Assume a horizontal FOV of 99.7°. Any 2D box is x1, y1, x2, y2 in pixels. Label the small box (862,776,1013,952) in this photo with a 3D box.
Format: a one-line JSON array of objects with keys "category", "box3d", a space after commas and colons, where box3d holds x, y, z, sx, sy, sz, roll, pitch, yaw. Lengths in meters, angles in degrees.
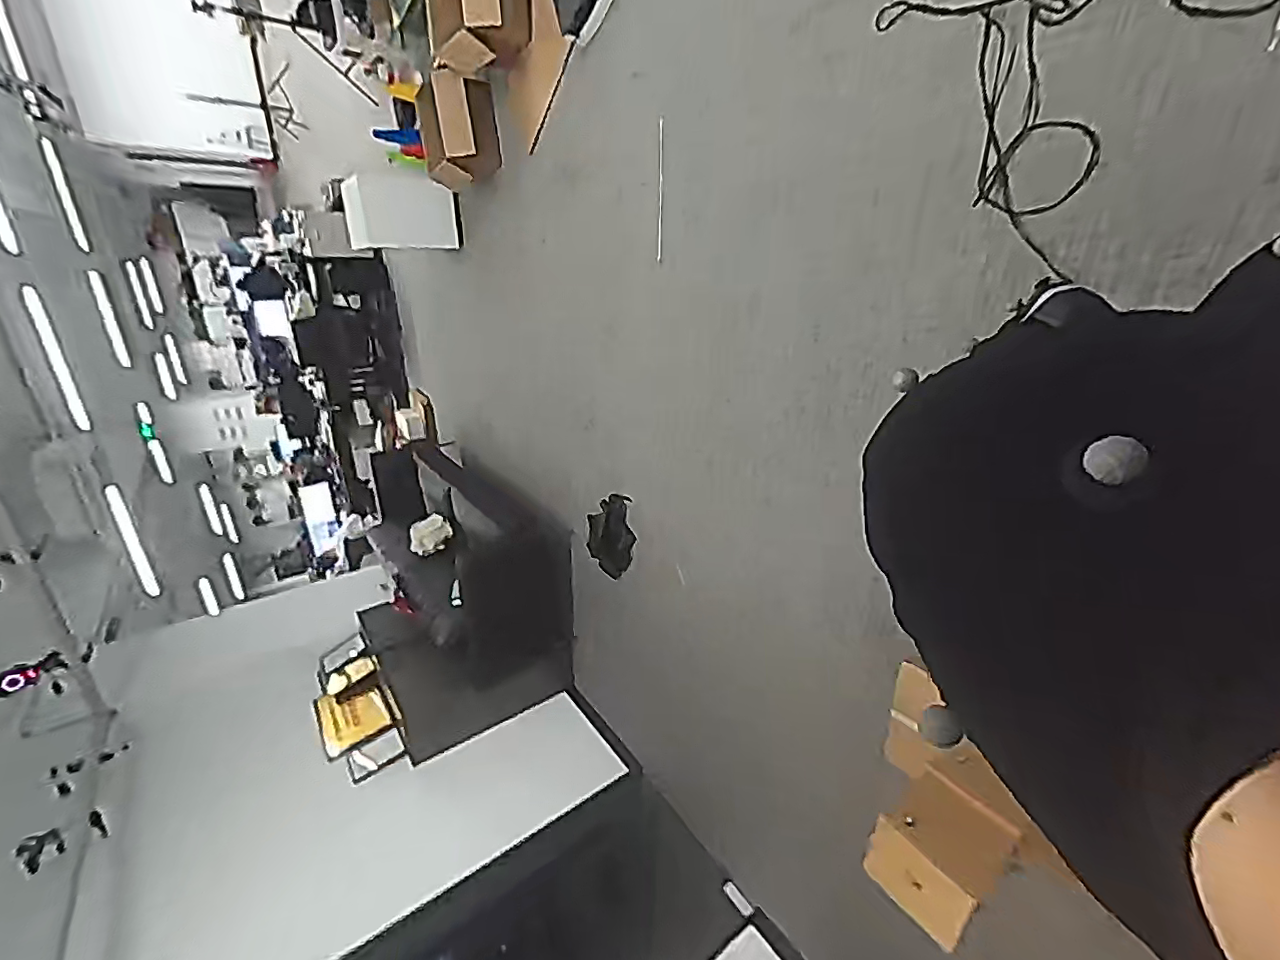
[{"category": "small box", "box3d": [0.554, 0.703, 1.011, 0.179, 0.176, 0.168, 32, 128, 48]}]
